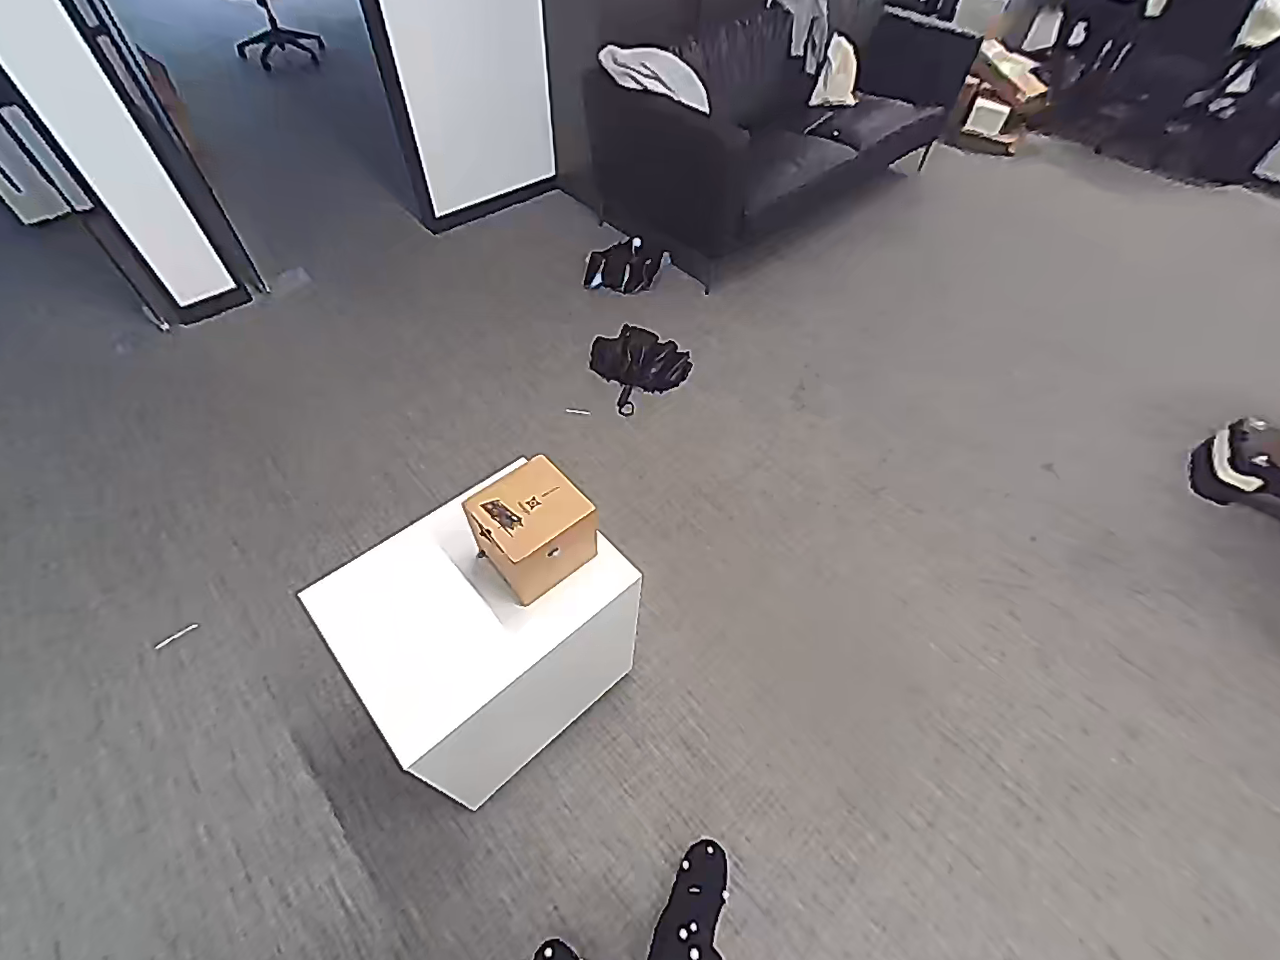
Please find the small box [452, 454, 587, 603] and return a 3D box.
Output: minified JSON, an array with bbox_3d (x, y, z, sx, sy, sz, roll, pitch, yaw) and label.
[{"bbox_3d":[-0.211,0.092,0.985,0.179,0.176,0.168,-34,63,-29],"label":"small box"}]
